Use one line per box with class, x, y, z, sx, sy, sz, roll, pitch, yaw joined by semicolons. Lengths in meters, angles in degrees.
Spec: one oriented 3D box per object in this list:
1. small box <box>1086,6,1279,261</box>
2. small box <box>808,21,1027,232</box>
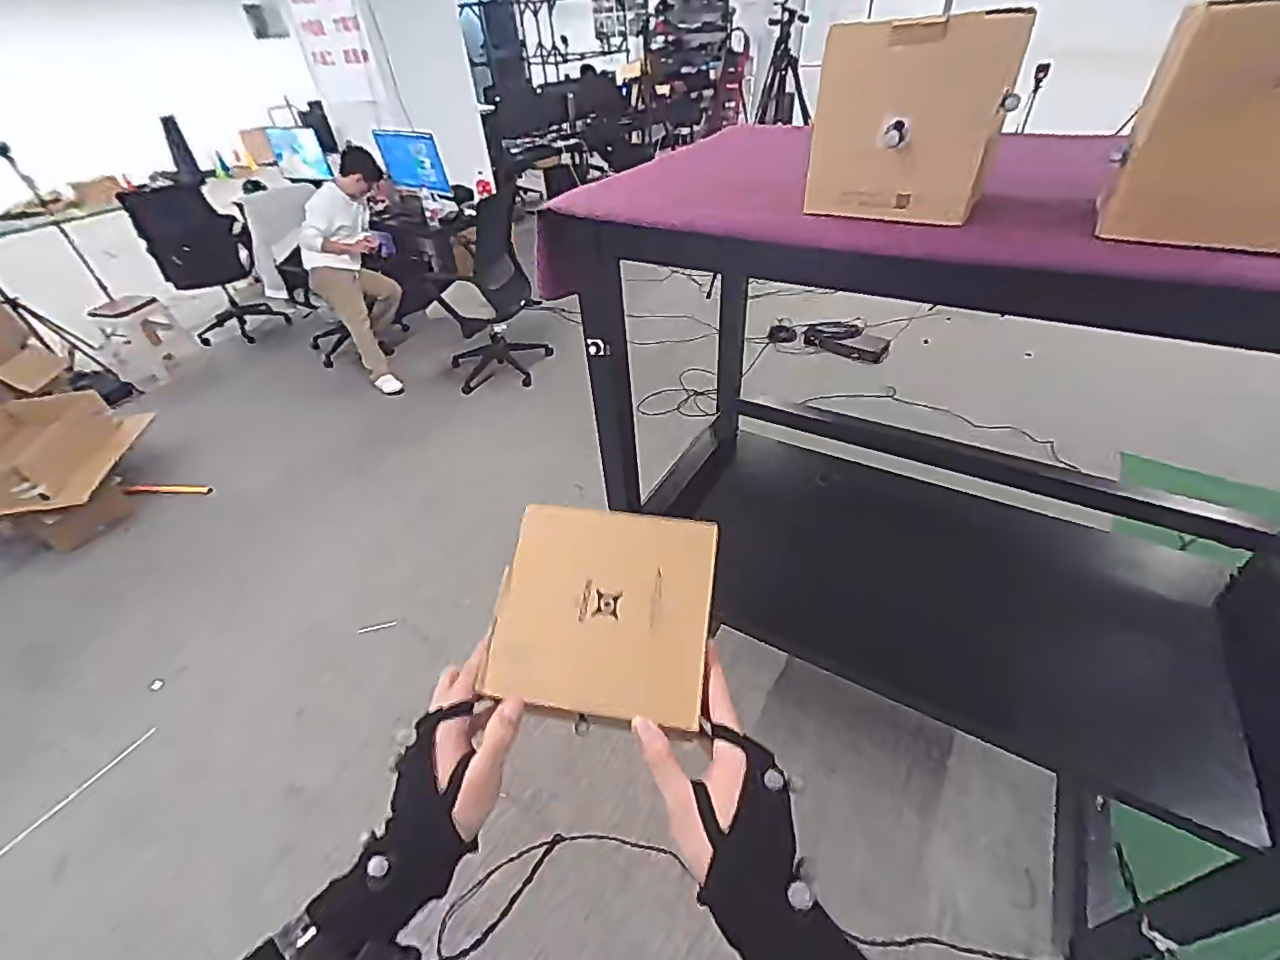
small box;0.534;-0.300;0.471;0.179;0.176;0.168;19;43;28
small box;0.295;-0.386;0.595;0.168;0.176;0.179;19;44;26
